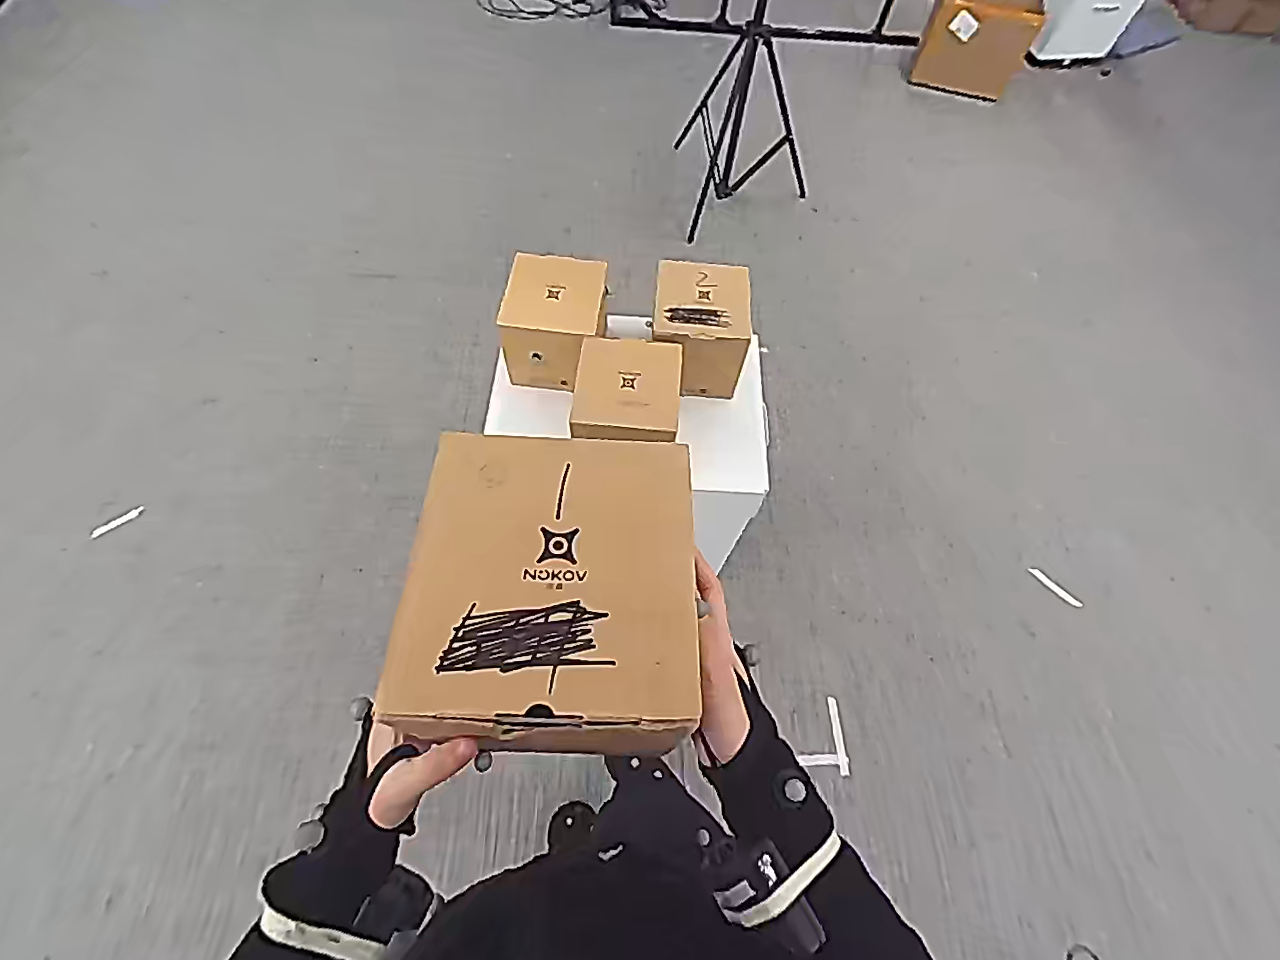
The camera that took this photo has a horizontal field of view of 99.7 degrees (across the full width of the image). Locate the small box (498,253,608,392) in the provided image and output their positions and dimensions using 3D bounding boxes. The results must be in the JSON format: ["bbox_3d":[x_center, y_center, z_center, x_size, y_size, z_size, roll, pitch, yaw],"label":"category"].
[{"bbox_3d":[-0.148,-0.281,0.991,0.168,0.176,0.179,6,62,-1],"label":"small box"}]

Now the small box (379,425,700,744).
[{"bbox_3d":[-0.052,0.083,0.381,0.168,0.176,0.179,2,58,-3],"label":"small box"}]
